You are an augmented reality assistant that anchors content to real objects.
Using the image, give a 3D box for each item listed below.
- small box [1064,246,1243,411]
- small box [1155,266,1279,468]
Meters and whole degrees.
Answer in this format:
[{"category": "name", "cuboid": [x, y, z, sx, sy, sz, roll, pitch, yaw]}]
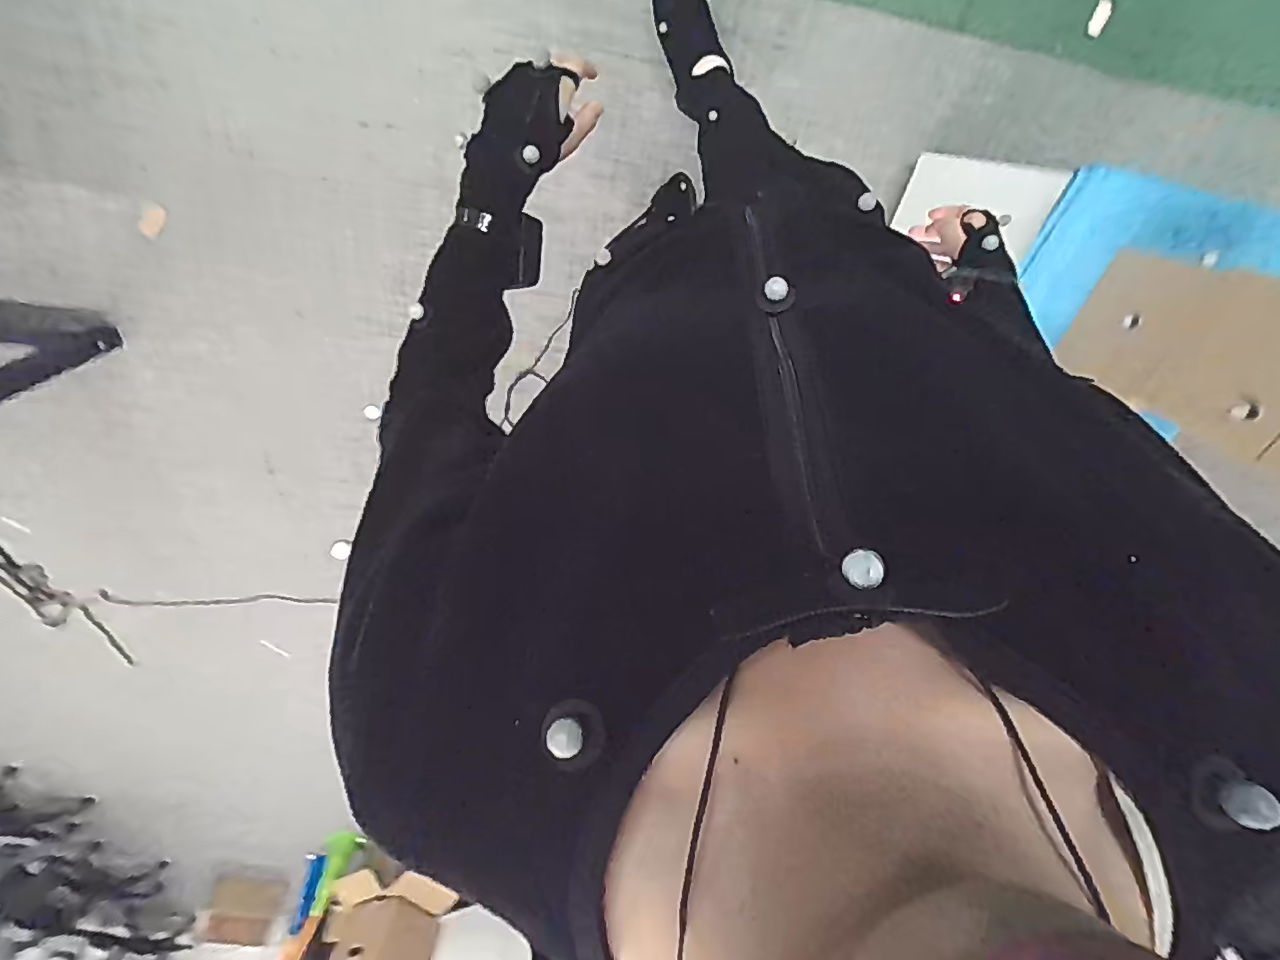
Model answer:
[{"category": "small box", "cuboid": [0.750, -0.206, 0.754, 0.168, 0.176, 0.179, 8, 123, -8]}, {"category": "small box", "cuboid": [0.756, -0.121, 0.613, 0.168, 0.176, 0.179, 8, 124, -8]}]
